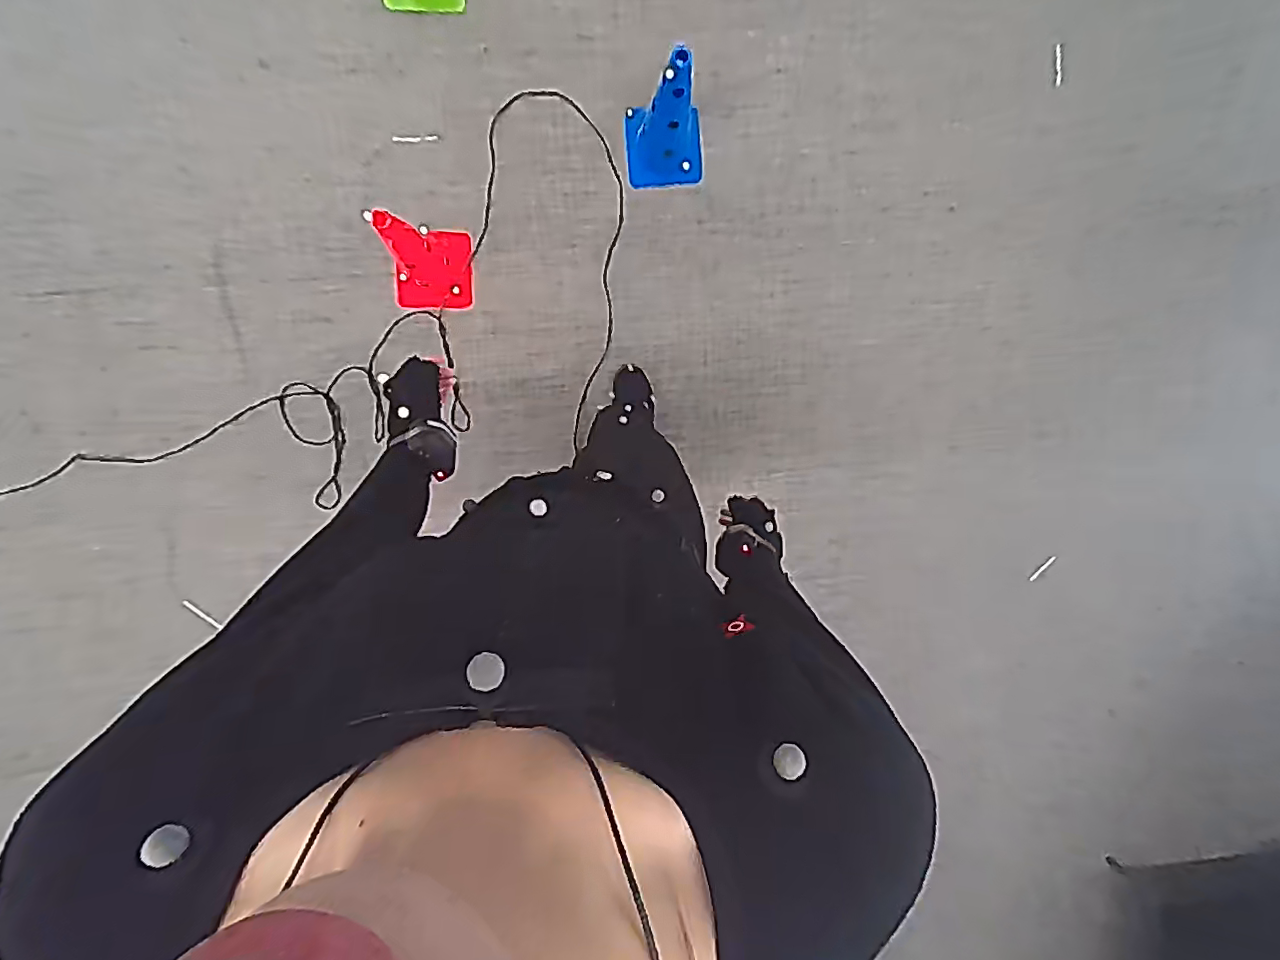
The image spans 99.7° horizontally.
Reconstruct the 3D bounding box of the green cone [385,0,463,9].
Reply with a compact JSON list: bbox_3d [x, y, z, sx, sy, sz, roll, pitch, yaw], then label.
[{"bbox_3d":[-0.537,-1.265,1.176,0.200,0.368,0.202,-2,96,-3],"label":"green cone"}]

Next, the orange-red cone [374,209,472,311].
[{"bbox_3d":[-0.528,-0.537,1.248,0.198,0.360,0.199,0,94,-5],"label":"orange-red cone"}]
